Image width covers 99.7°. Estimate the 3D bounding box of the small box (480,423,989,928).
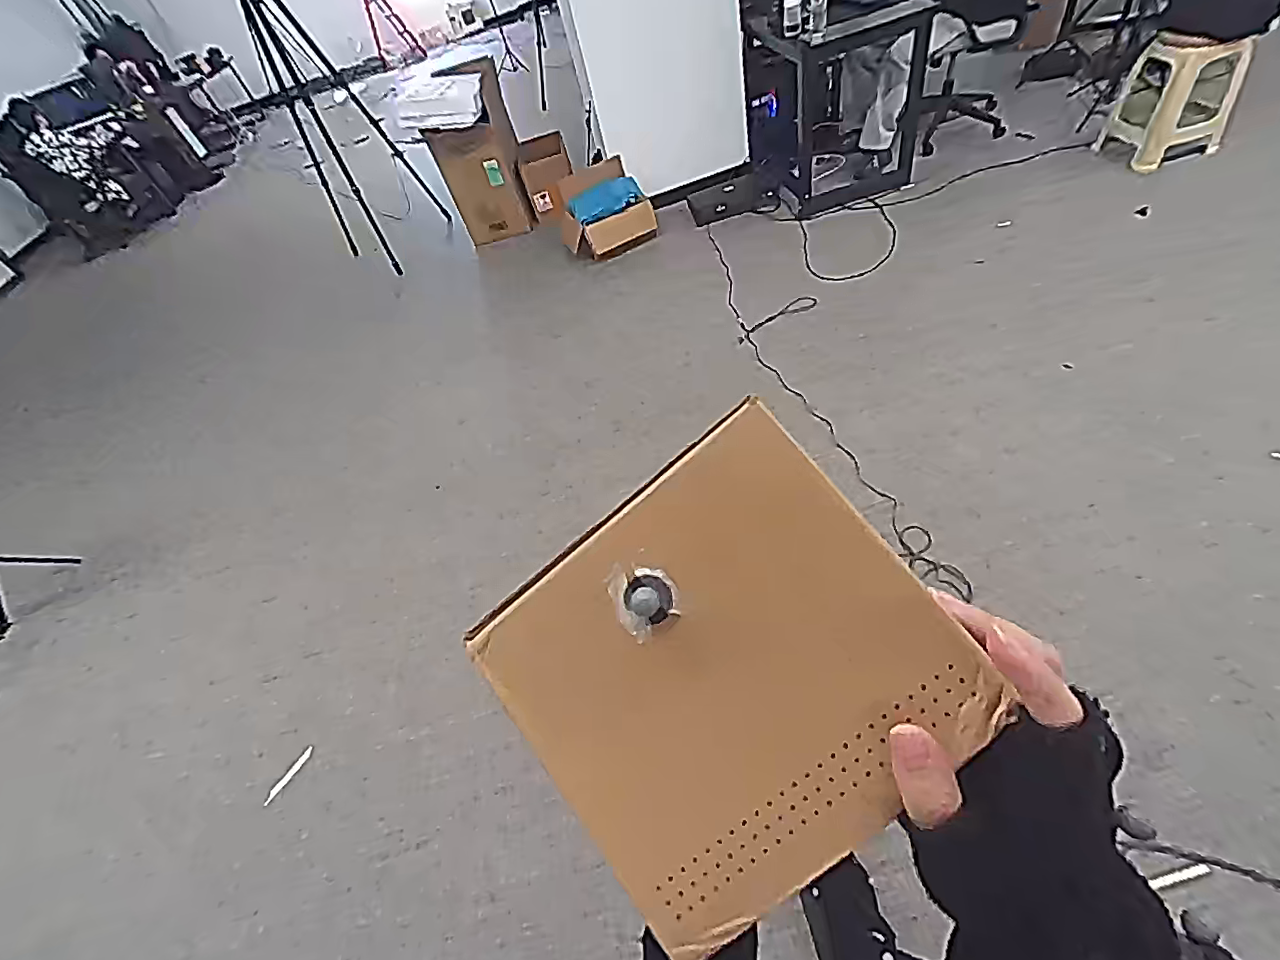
[{"bbox_3d":[0.050,0.097,0.320,0.179,0.168,0.176,-40,79,5],"label":"small box"}]
